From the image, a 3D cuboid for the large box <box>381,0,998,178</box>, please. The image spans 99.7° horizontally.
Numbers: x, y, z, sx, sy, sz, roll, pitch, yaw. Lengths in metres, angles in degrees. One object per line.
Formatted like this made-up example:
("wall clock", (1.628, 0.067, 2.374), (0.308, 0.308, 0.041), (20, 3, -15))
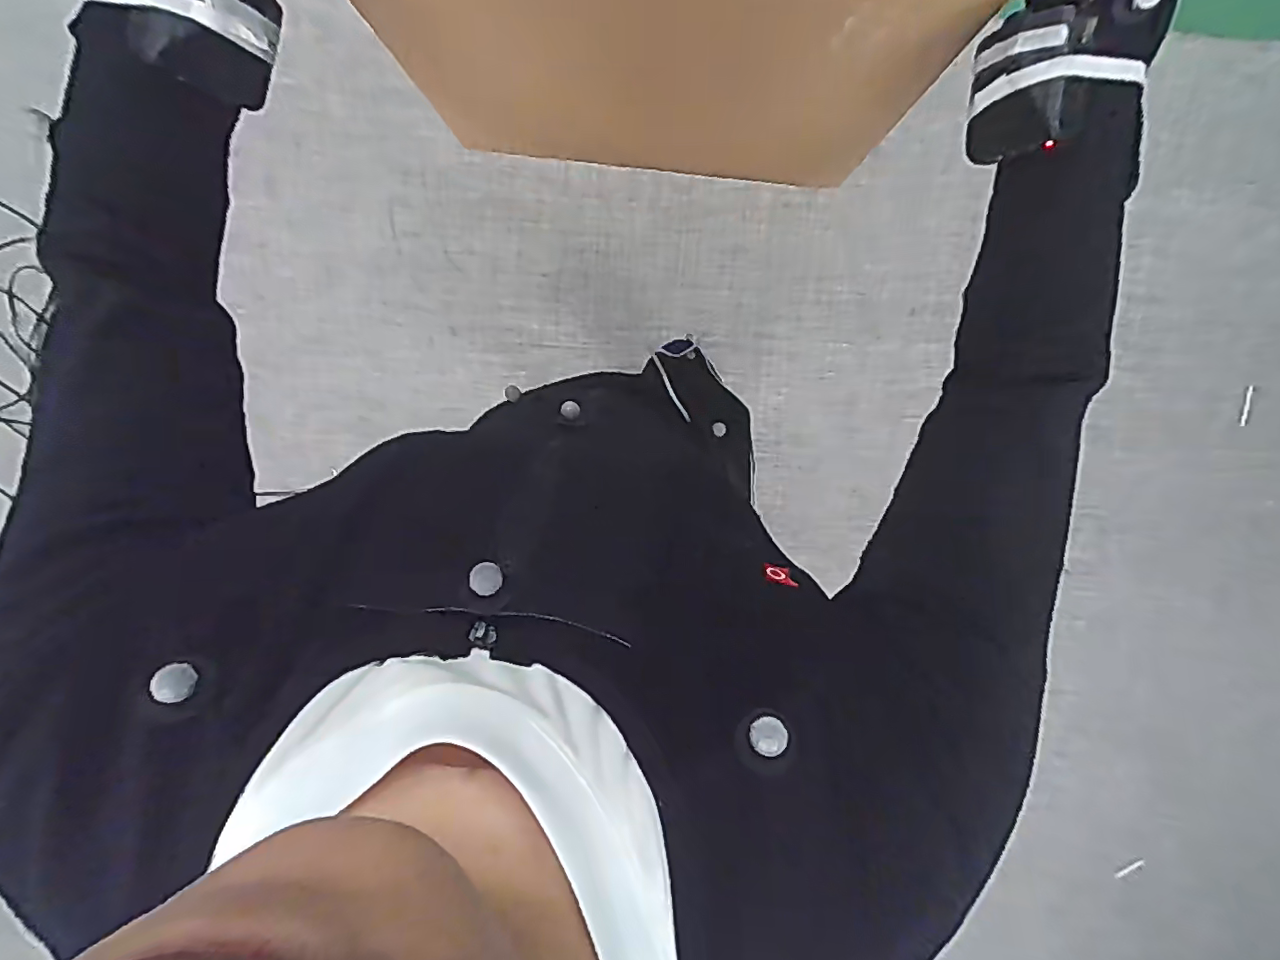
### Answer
("large box", (0.031, -0.463, 0.406), (0.408, 0.320, 0.320), (6, 100, -1))
